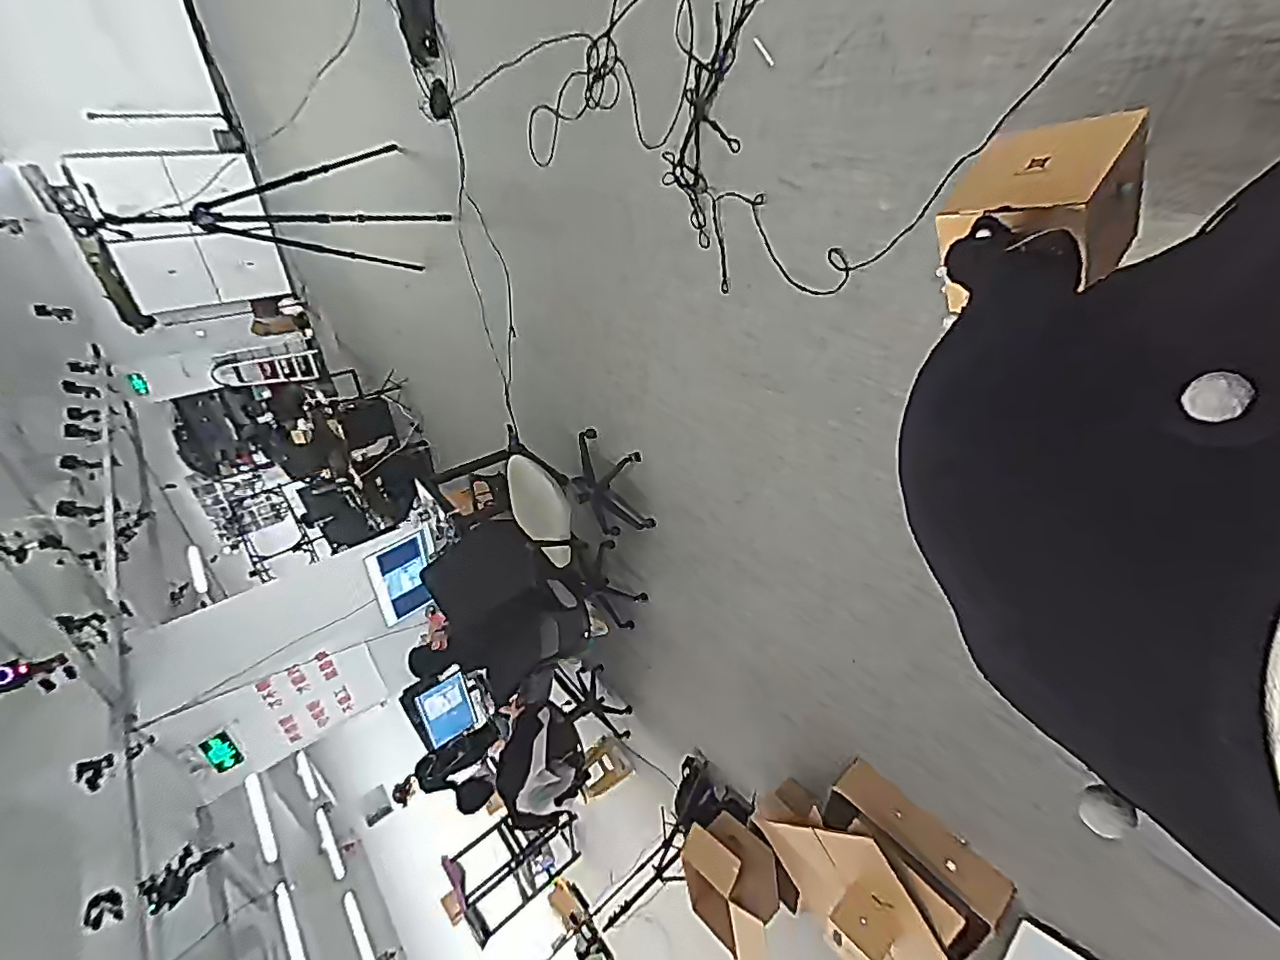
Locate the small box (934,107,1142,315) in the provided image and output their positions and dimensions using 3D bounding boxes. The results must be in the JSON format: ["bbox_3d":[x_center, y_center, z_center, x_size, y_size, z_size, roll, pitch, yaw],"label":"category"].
[{"bbox_3d":[0.526,-0.350,0.726,0.168,0.179,0.176,24,162,47],"label":"small box"}]
